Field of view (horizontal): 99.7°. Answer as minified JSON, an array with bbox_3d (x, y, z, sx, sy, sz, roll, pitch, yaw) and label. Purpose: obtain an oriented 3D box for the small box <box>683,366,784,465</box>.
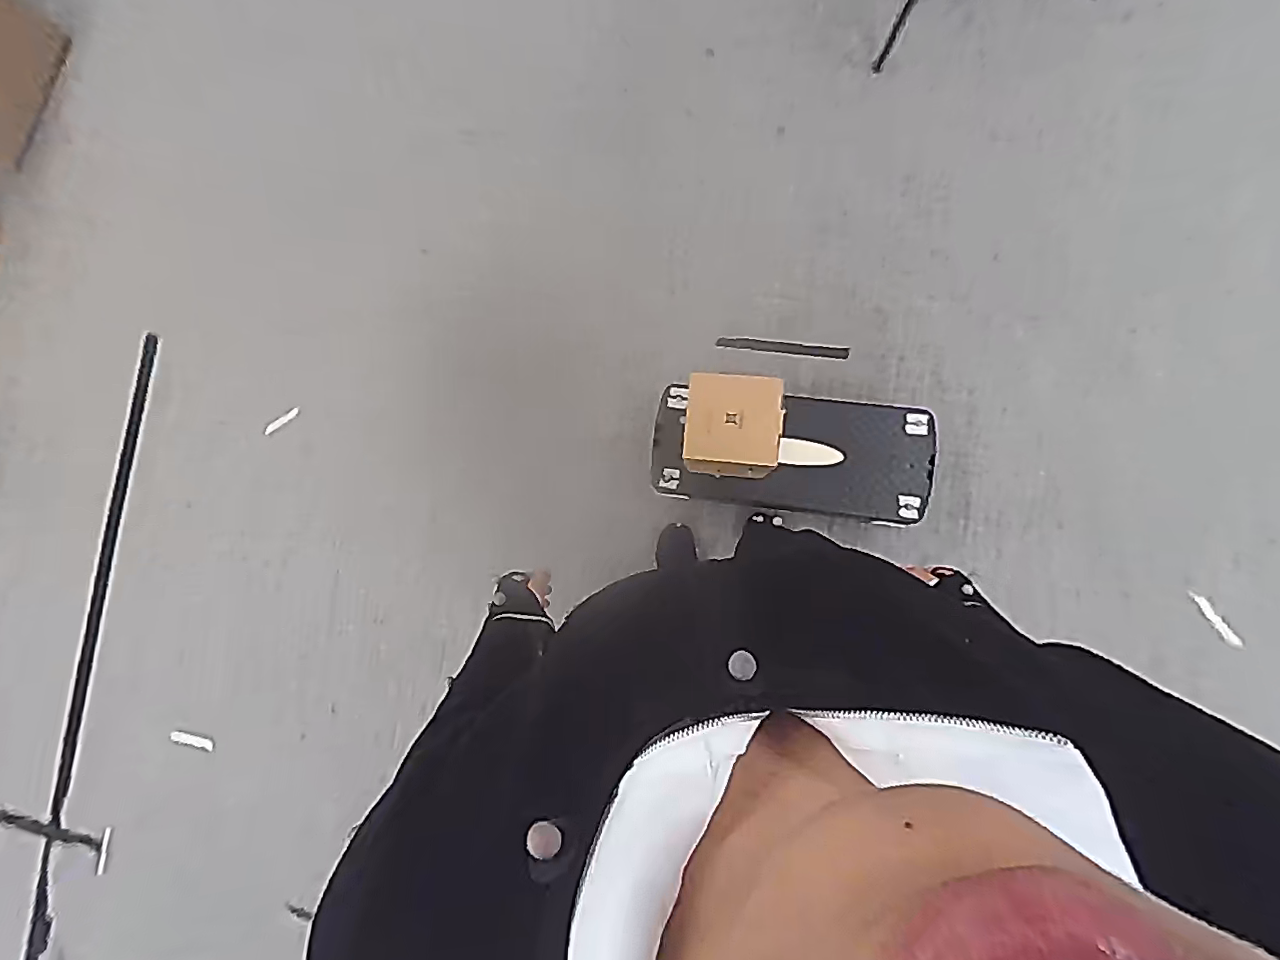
[{"bbox_3d":[0.181,-0.121,1.078,0.179,0.176,0.168,5,87,7],"label":"small box"}]
